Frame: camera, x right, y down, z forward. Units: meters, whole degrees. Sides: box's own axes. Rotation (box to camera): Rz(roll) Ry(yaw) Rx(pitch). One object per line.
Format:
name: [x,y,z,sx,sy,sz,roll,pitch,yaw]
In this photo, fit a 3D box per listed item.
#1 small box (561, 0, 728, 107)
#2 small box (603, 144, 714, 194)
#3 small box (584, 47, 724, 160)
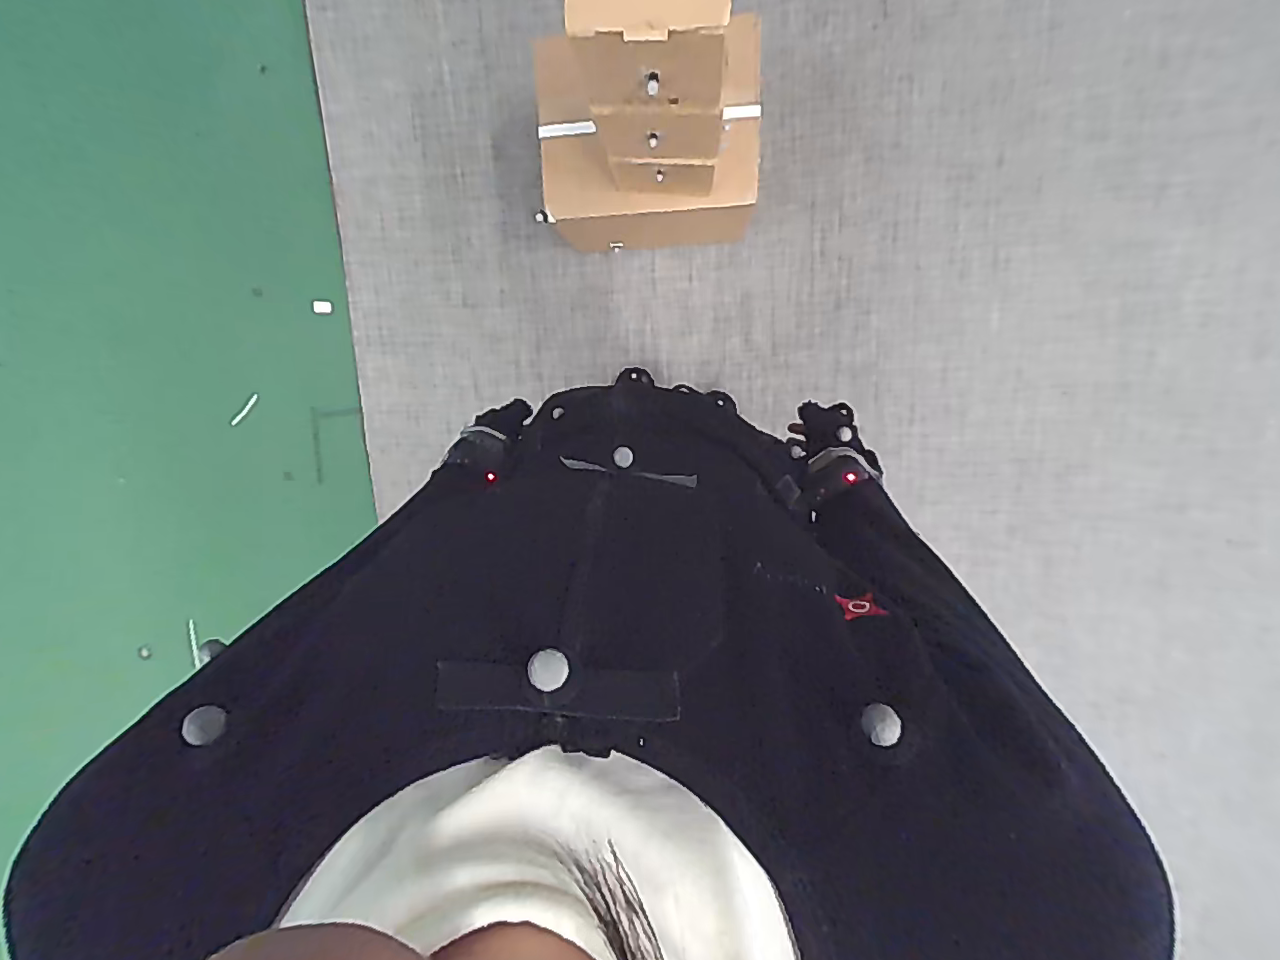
small box: [0.013,-0.539,0.596,0.168,0.176,0.179,4,104,5]
small box: [0.039,-0.598,0.917,0.179,0.176,0.168,4,104,3]
small box: [0.026,-0.567,0.757,0.179,0.176,0.168,4,103,7]
